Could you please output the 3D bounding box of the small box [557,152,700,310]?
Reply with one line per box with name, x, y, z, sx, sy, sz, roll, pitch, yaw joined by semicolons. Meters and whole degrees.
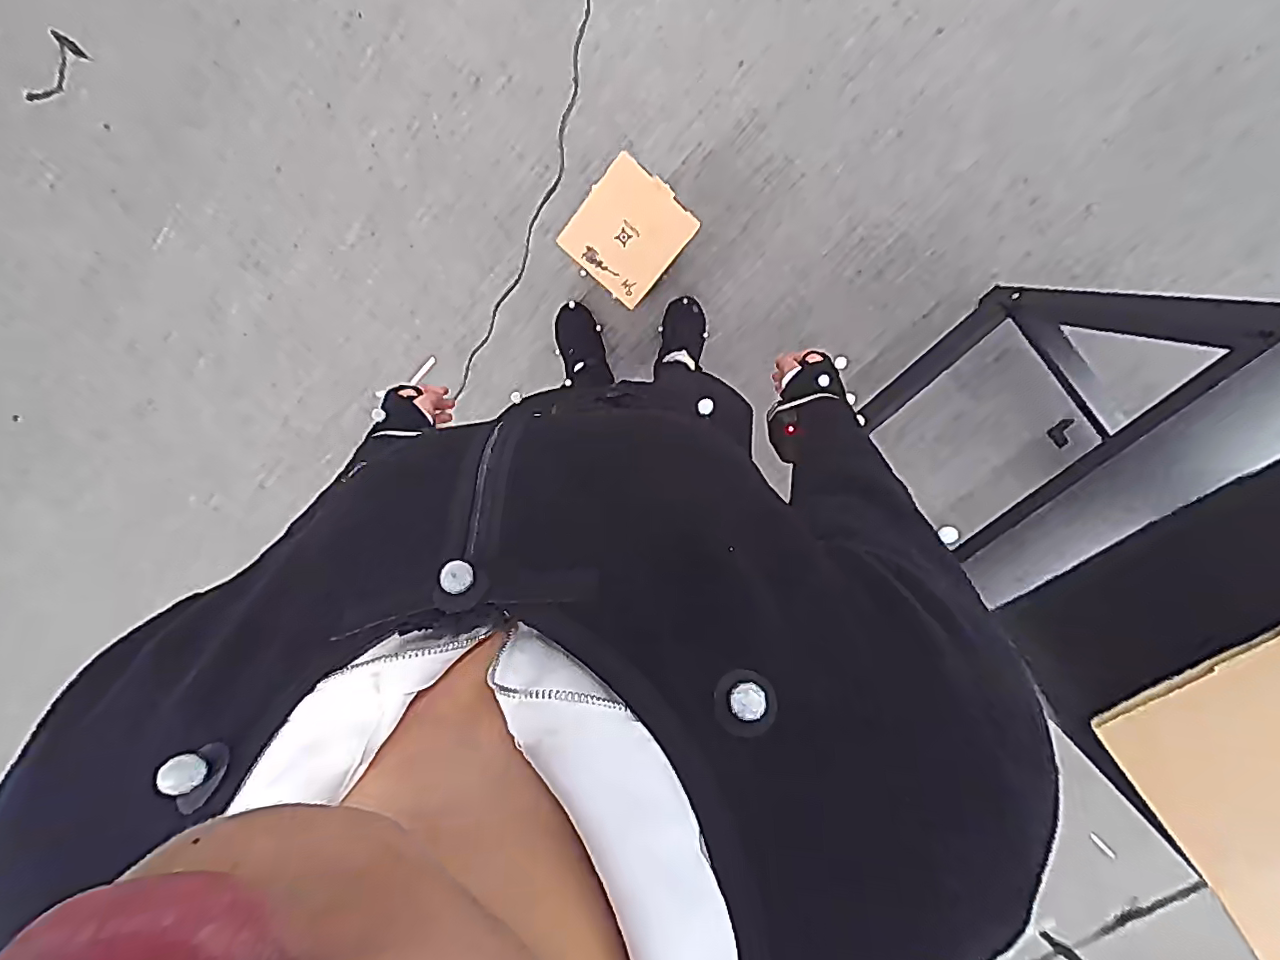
small box;-0.019;-0.421;0.942;0.168;0.176;0.179;40;106;-12
